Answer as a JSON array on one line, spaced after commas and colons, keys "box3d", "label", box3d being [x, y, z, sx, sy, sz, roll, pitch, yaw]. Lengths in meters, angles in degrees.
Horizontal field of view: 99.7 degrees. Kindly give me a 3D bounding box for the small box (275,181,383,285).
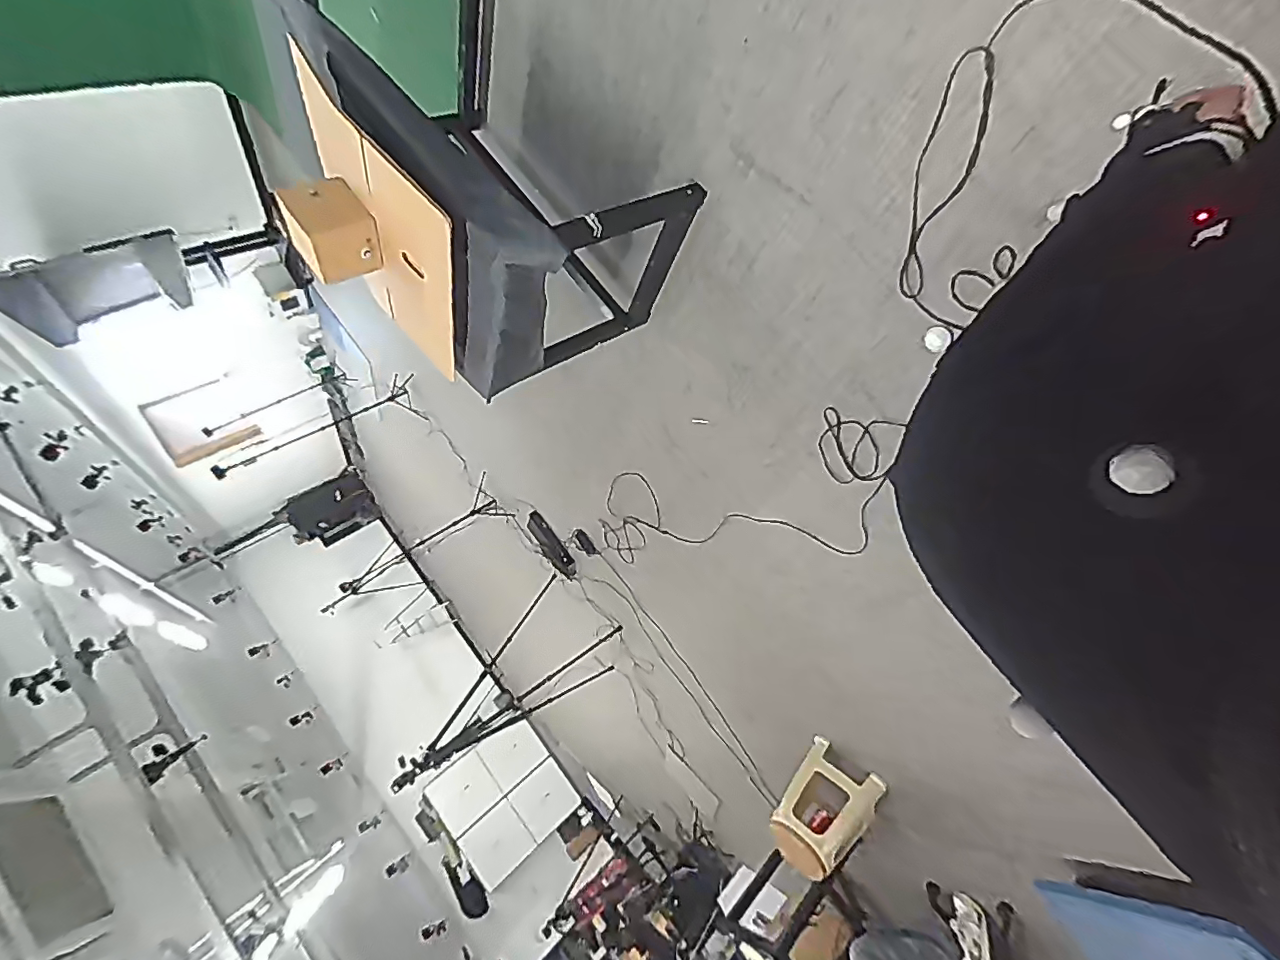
[{"box3d": [-0.808, -0.654, 1.421, 0.179, 0.176, 0.168, 49, 152, 12], "label": "small box"}]
